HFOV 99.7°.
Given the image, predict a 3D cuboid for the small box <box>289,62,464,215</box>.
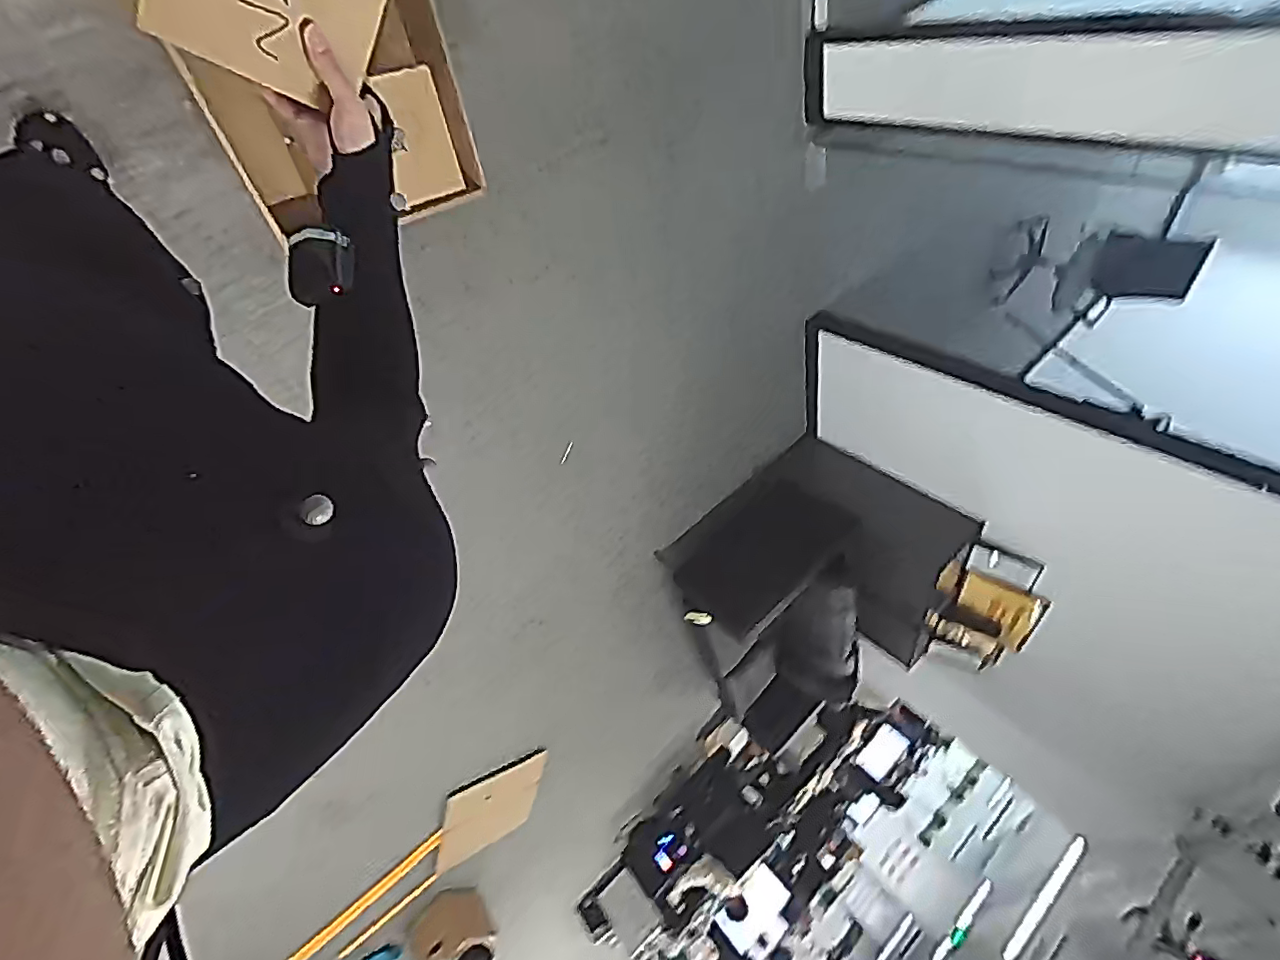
[{"bbox_3d":[-0.408,-0.530,0.833,0.179,0.176,0.168,-33,139,-25],"label":"small box"}]
